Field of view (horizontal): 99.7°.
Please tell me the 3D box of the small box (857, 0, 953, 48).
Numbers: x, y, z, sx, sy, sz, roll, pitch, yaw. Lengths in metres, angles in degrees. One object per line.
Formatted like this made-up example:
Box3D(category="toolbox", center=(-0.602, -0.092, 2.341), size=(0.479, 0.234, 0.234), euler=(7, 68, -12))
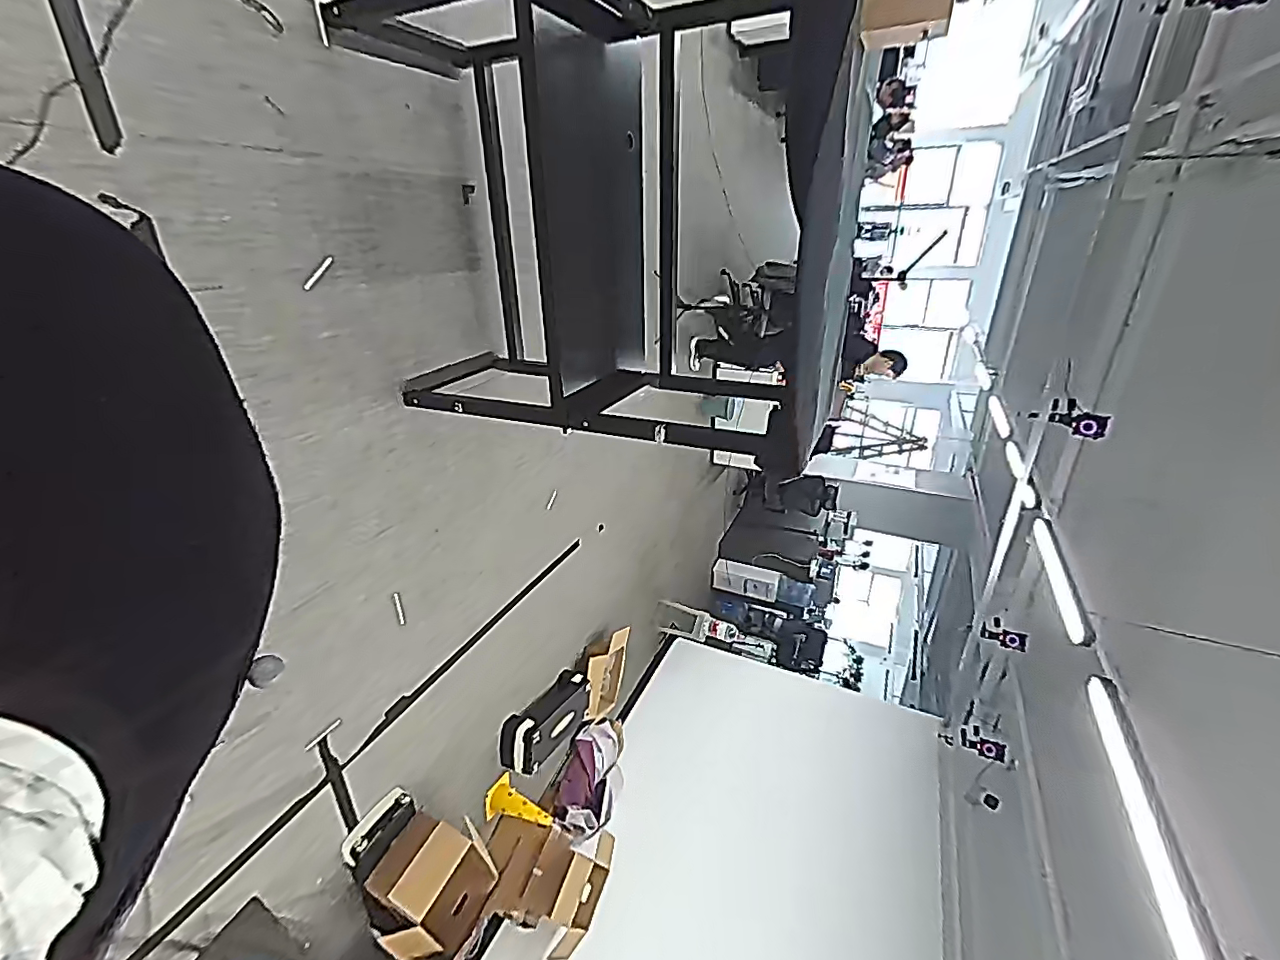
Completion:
Box3D(category="small box", center=(0.541, -0.997, 1.089), size=(0.179, 0.176, 0.168), euler=(-45, 140, -54))
